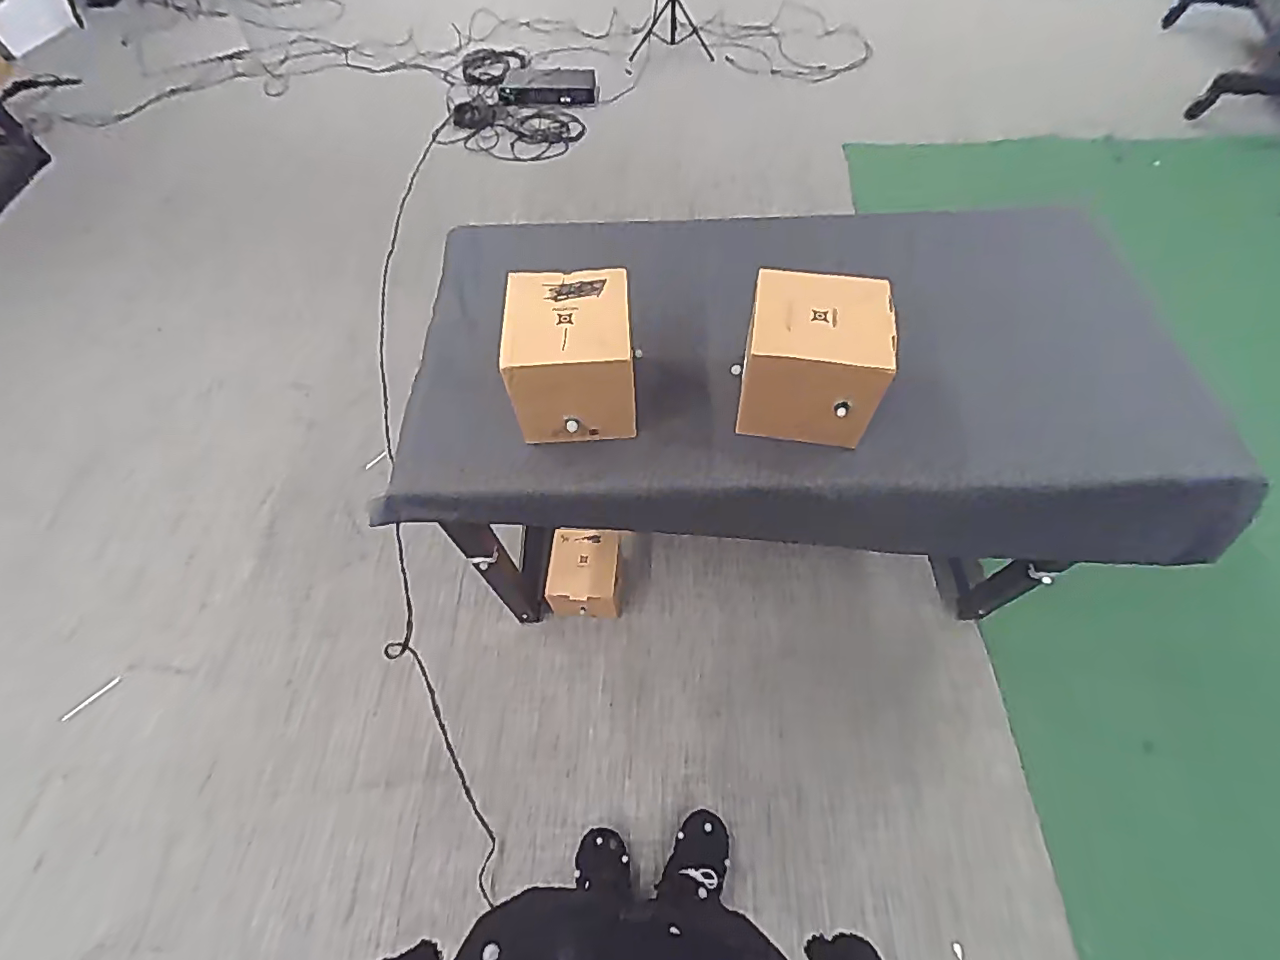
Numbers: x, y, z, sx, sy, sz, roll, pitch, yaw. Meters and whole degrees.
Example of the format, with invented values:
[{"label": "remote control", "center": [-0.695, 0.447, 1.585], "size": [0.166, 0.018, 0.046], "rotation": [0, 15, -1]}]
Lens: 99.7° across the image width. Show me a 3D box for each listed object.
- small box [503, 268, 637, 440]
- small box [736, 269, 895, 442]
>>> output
[{"label": "small box", "center": [-0.090, -0.178, 0.779], "size": [0.168, 0.176, 0.179], "rotation": [-3, 59, 0]}, {"label": "small box", "center": [0.239, -0.171, 0.768], "size": [0.179, 0.176, 0.168], "rotation": [7, 59, 7]}]
